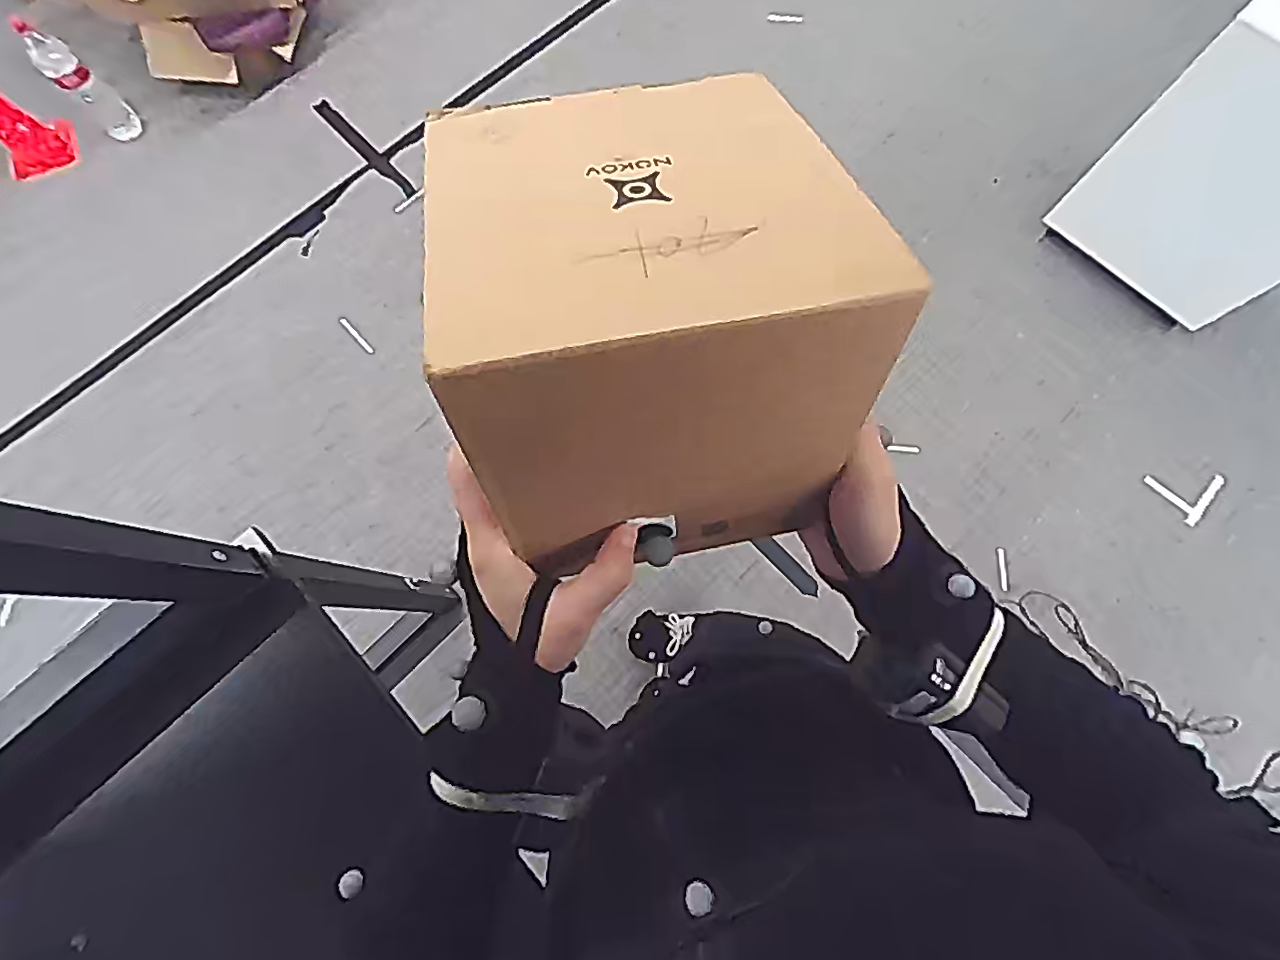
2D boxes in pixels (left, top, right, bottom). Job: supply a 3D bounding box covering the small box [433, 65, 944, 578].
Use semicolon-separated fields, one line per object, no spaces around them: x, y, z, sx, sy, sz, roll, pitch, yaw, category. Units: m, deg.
0.004;-0.073;0.278;0.168;0.176;0.179;-12;58;-5;small box
